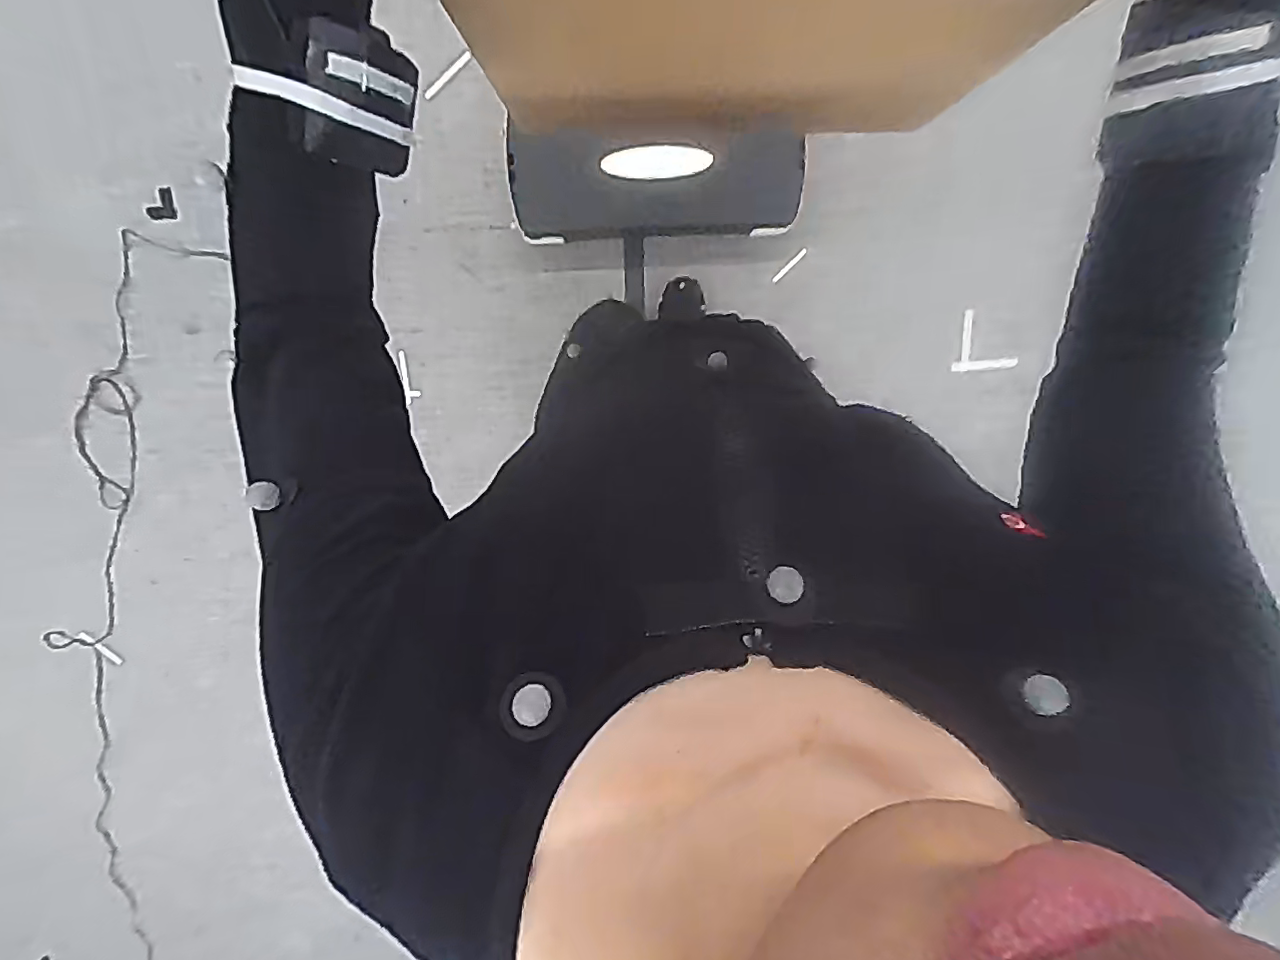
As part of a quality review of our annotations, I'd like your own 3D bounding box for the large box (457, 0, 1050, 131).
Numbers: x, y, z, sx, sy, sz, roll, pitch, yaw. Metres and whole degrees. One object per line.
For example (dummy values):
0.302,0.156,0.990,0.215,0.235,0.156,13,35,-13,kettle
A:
0.073,-0.467,0.364,0.408,0.320,0.320,-1,106,0,large box
